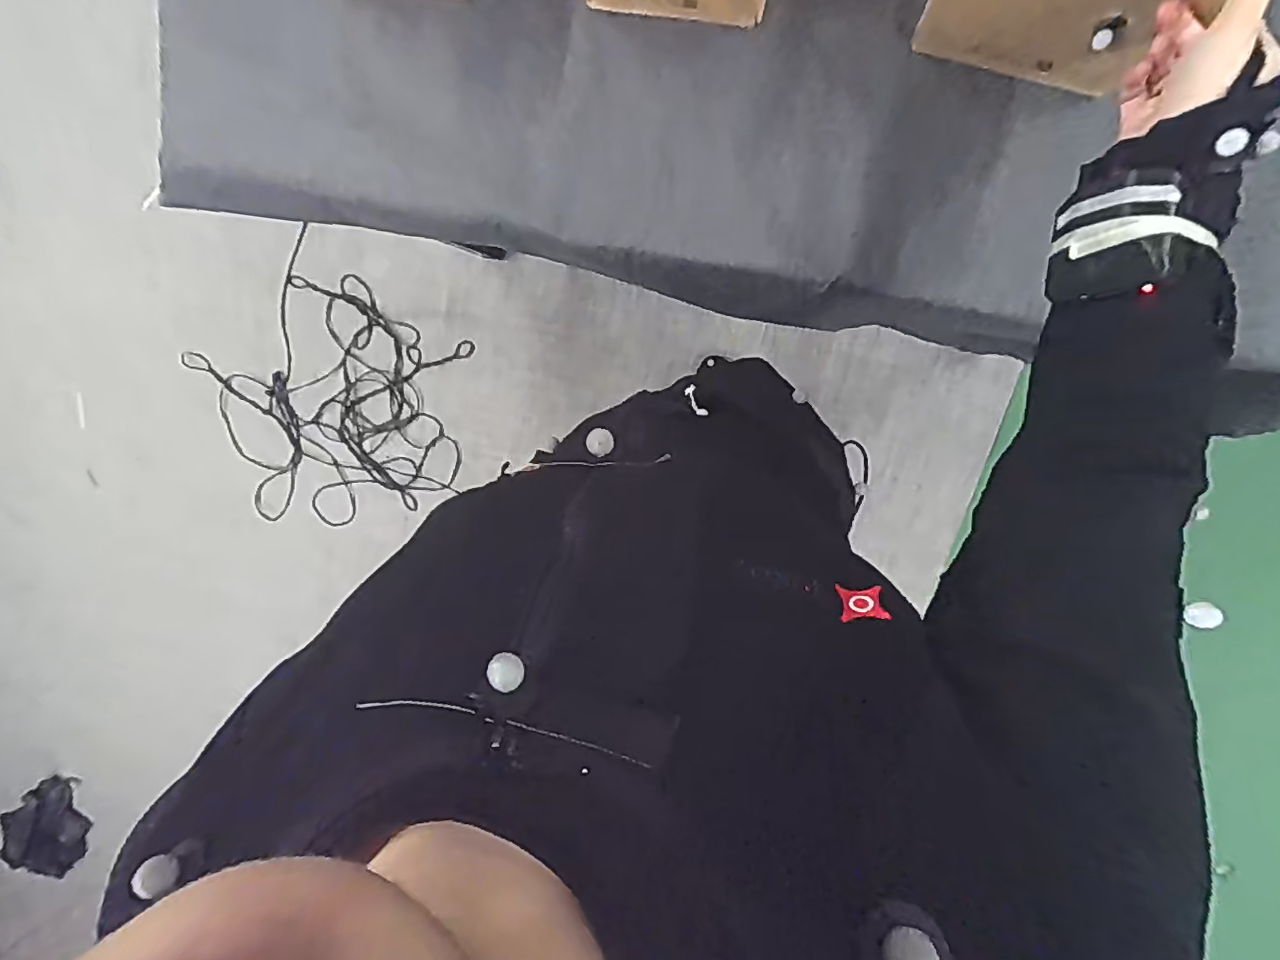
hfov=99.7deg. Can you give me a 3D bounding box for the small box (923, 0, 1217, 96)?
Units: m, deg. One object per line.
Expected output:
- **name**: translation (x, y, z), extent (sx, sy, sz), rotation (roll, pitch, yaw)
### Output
- **small box**: translation (0.323, -0.407, 0.369), extent (0.168, 0.176, 0.179), rotation (20, 105, 5)

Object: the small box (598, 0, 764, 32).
- **small box**: translation (0.032, -0.494, 0.409), extent (0.168, 0.176, 0.179), rotation (14, 106, 8)
